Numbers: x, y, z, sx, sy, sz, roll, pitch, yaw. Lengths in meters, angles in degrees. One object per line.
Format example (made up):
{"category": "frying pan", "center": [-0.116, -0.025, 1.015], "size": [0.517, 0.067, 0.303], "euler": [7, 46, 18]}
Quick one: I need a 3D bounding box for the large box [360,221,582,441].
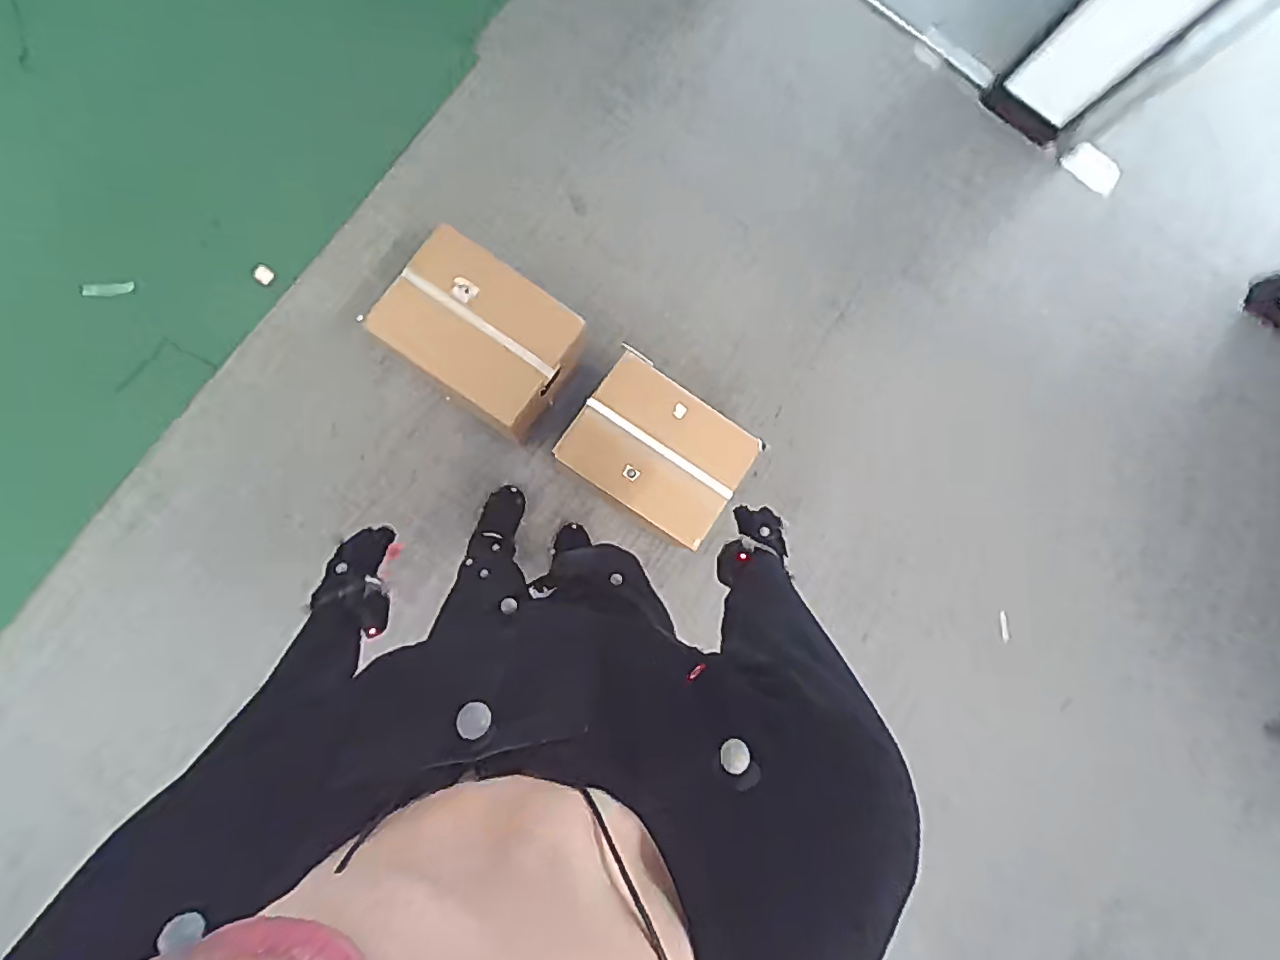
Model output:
{"category": "large box", "center": [-0.396, -0.350, 1.378], "size": [0.408, 0.320, 0.320], "euler": [35, 81, -3]}
